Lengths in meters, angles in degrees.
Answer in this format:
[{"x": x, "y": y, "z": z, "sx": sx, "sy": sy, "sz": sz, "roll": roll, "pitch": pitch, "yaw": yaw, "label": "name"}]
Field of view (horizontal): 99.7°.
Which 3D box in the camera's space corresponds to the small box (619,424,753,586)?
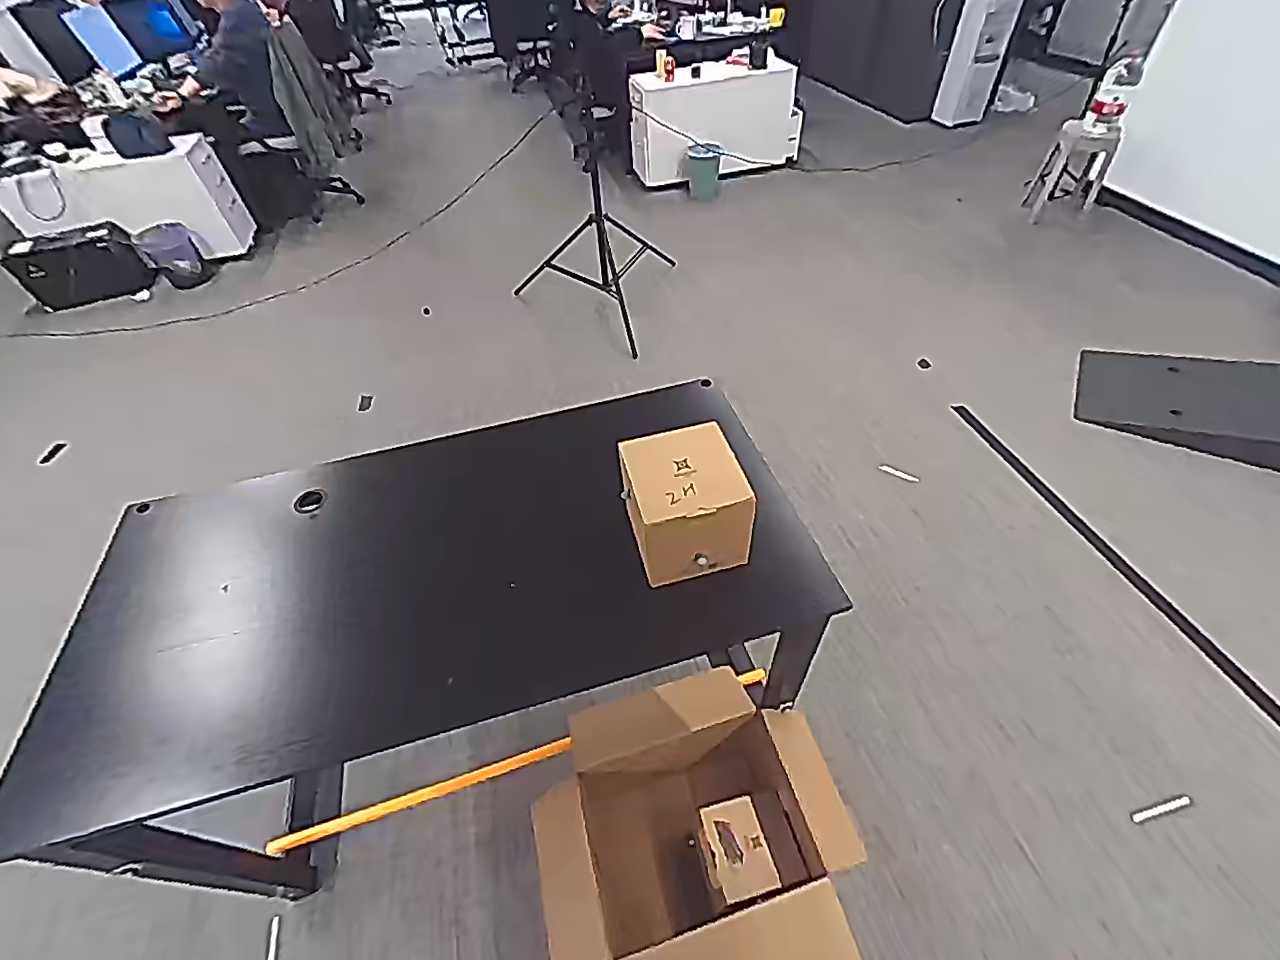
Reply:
[{"x": 0.068, "y": 0.041, "z": 0.870, "sx": 0.168, "sy": 0.176, "sz": 0.179, "roll": -13, "pitch": 48, "yaw": -6, "label": "small box"}]
